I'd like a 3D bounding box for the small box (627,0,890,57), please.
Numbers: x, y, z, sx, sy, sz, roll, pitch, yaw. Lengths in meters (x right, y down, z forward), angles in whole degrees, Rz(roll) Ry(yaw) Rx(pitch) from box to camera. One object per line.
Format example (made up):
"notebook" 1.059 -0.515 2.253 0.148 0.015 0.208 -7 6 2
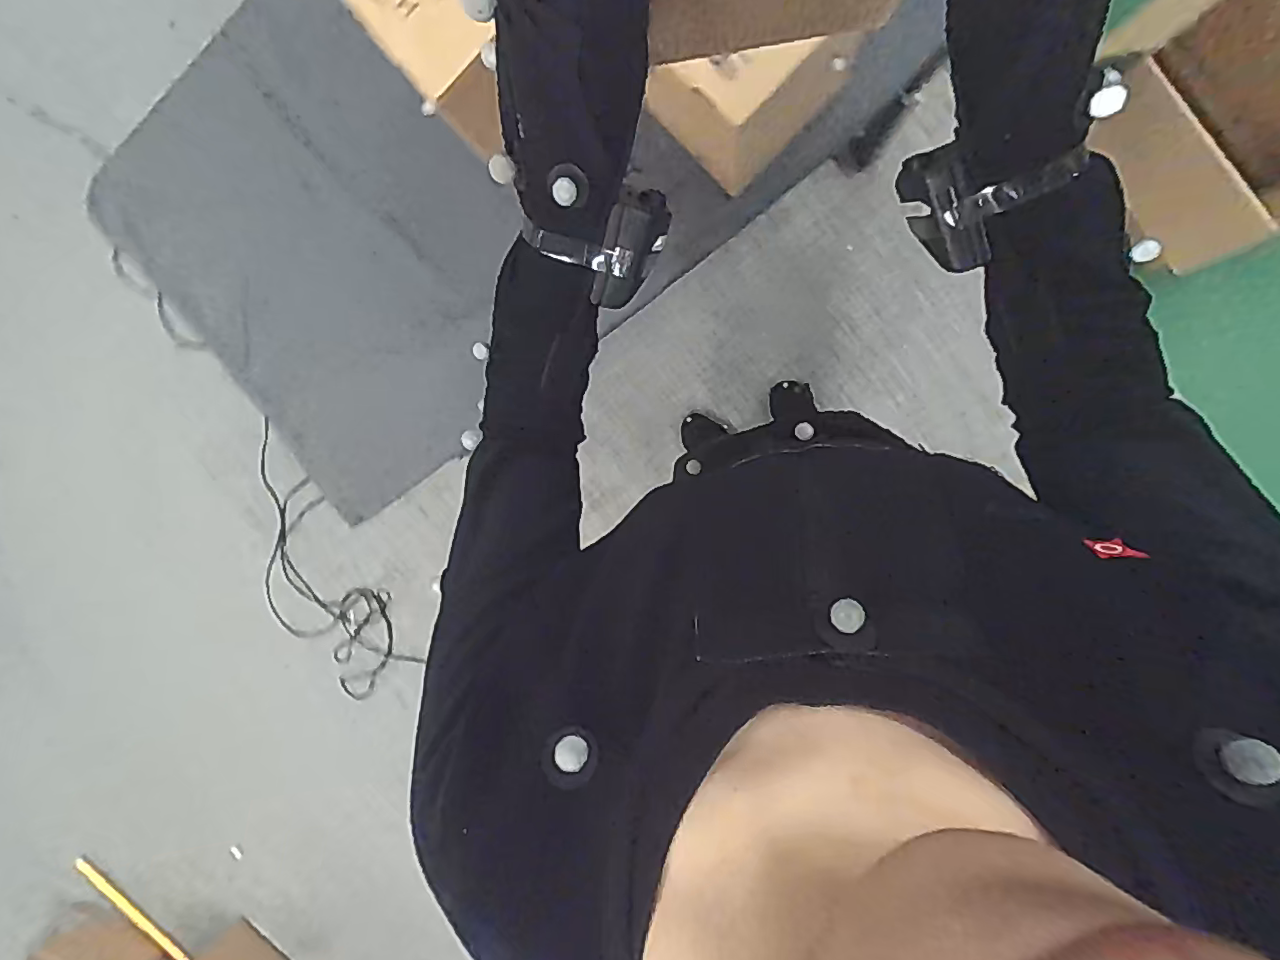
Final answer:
"small box" 0.070 -0.353 0.272 0.179 0.176 0.168 -3 108 8
